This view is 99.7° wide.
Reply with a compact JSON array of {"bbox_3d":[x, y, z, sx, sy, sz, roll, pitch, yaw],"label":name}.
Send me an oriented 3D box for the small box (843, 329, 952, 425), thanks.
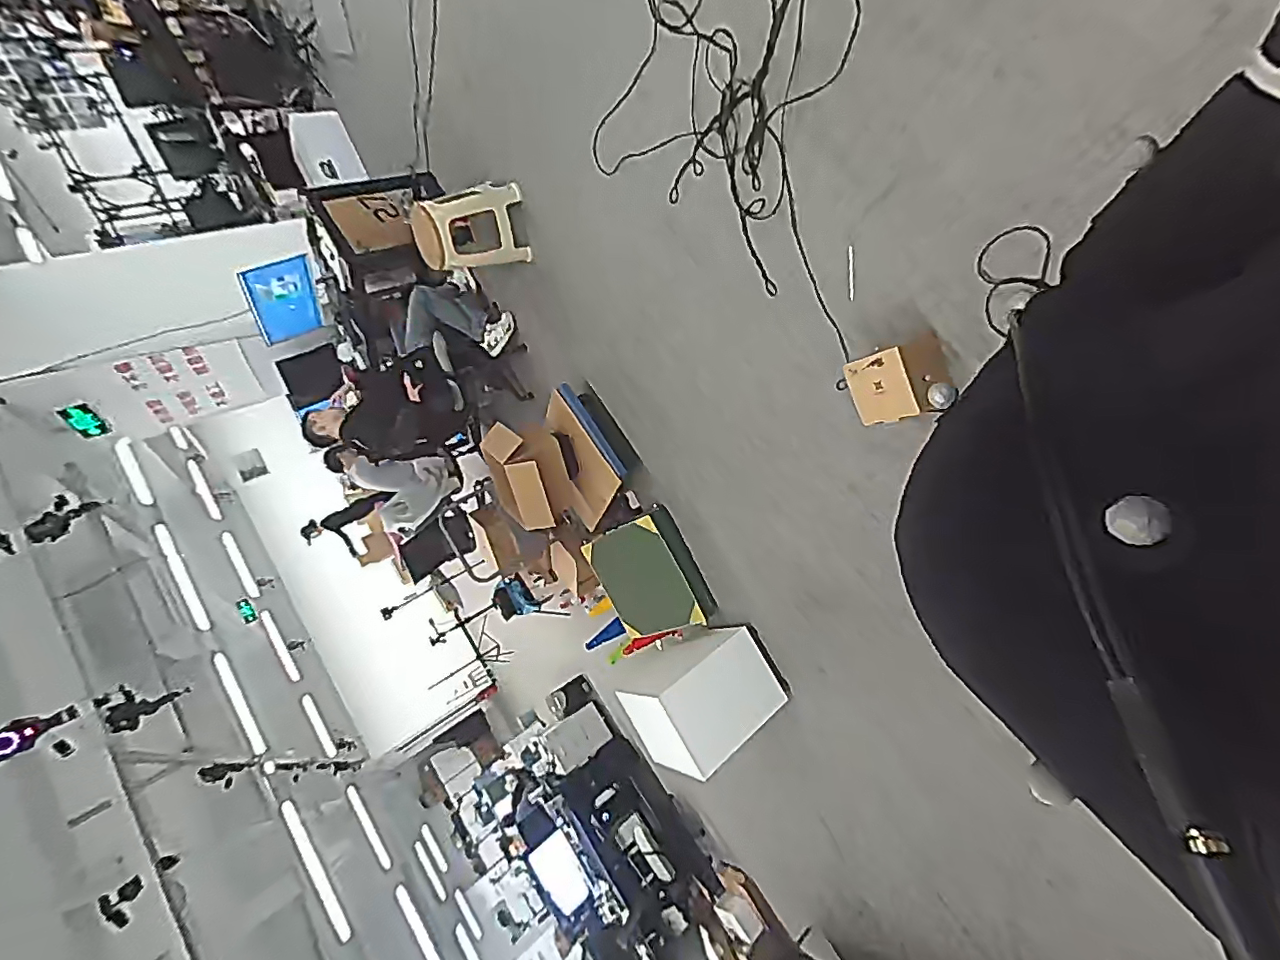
[{"bbox_3d":[0.665,-0.262,1.390,0.168,0.176,0.179,-11,104,60],"label":"small box"}]
